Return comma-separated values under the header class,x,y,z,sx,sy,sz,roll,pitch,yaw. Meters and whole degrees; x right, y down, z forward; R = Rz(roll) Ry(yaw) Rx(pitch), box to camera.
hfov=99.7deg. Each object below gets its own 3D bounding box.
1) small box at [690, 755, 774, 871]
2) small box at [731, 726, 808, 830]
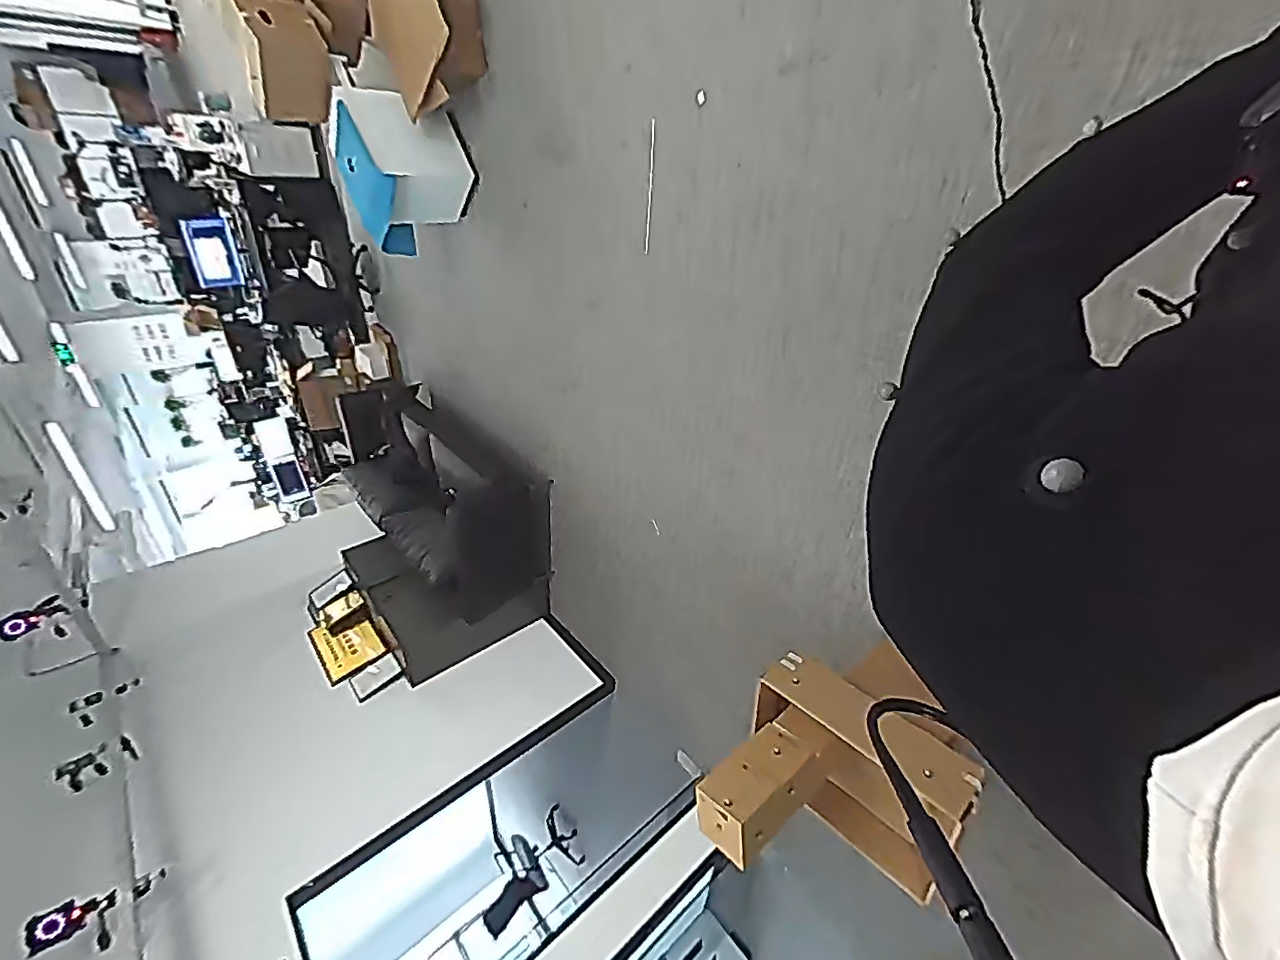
class,x,y,z,sx,sy,sz,roll,pitch,yaw
small box,0.262,0.925,1.517,0.168,0.176,0.179,15,120,46
small box,0.386,0.879,1.614,0.168,0.176,0.179,19,122,46
